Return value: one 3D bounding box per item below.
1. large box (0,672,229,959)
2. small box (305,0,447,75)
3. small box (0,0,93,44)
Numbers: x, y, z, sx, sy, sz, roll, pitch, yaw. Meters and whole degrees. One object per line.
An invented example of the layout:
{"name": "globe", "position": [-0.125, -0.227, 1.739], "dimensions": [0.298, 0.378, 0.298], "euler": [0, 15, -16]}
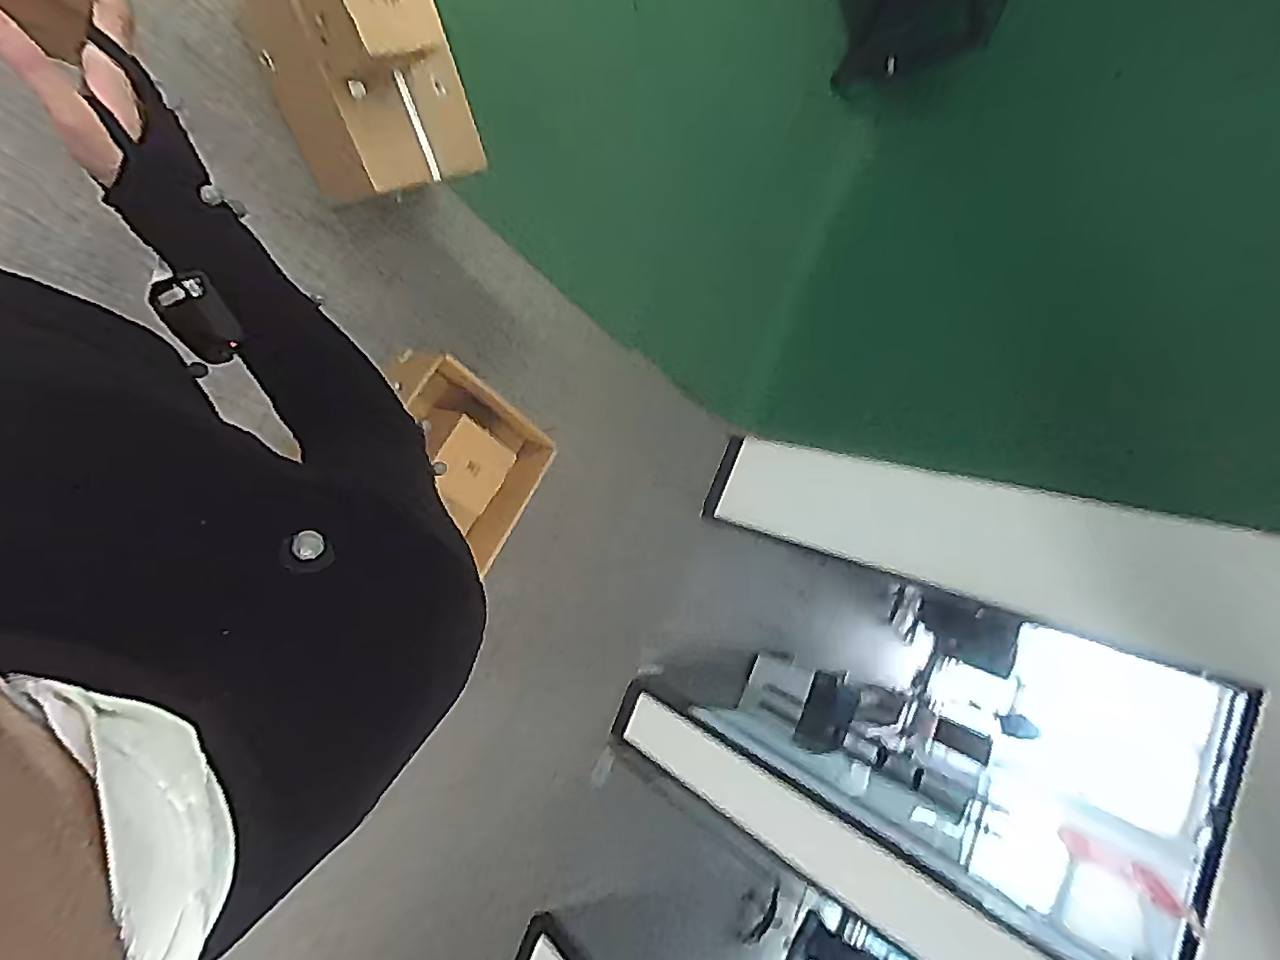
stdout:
{"name": "large box", "position": [-1.230, 0.716, 1.176], "dimensions": [0.408, 0.320, 0.320], "euler": [-50, 134, -26]}
{"name": "small box", "position": [-0.514, -0.906, 1.039], "dimensions": [0.179, 0.176, 0.168], "euler": [-38, 129, -31]}
{"name": "small box", "position": [-0.466, -0.425, 0.332], "dimensions": [0.168, 0.176, 0.179], "euler": [-10, 109, -46]}
